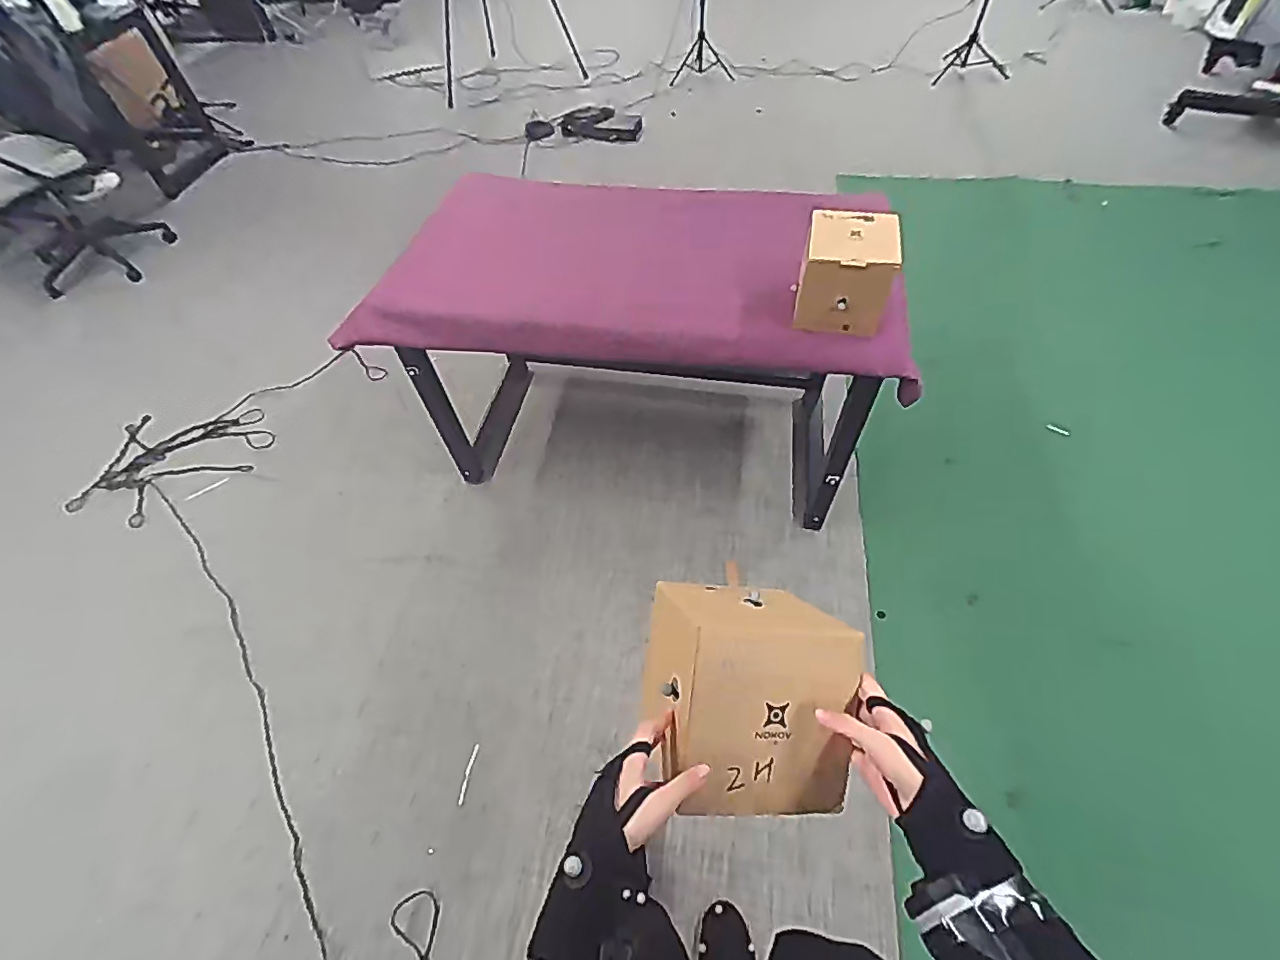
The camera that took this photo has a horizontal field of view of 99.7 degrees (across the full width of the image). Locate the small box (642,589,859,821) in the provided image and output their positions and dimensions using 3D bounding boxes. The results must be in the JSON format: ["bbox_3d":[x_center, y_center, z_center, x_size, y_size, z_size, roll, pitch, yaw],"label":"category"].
[{"bbox_3d":[0.102,0.220,0.568,0.168,0.176,0.179,6,92,-10],"label":"small box"}]

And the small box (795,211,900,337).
[{"bbox_3d":[0.413,-0.412,1.090,0.168,0.176,0.179,9,57,11],"label":"small box"}]
